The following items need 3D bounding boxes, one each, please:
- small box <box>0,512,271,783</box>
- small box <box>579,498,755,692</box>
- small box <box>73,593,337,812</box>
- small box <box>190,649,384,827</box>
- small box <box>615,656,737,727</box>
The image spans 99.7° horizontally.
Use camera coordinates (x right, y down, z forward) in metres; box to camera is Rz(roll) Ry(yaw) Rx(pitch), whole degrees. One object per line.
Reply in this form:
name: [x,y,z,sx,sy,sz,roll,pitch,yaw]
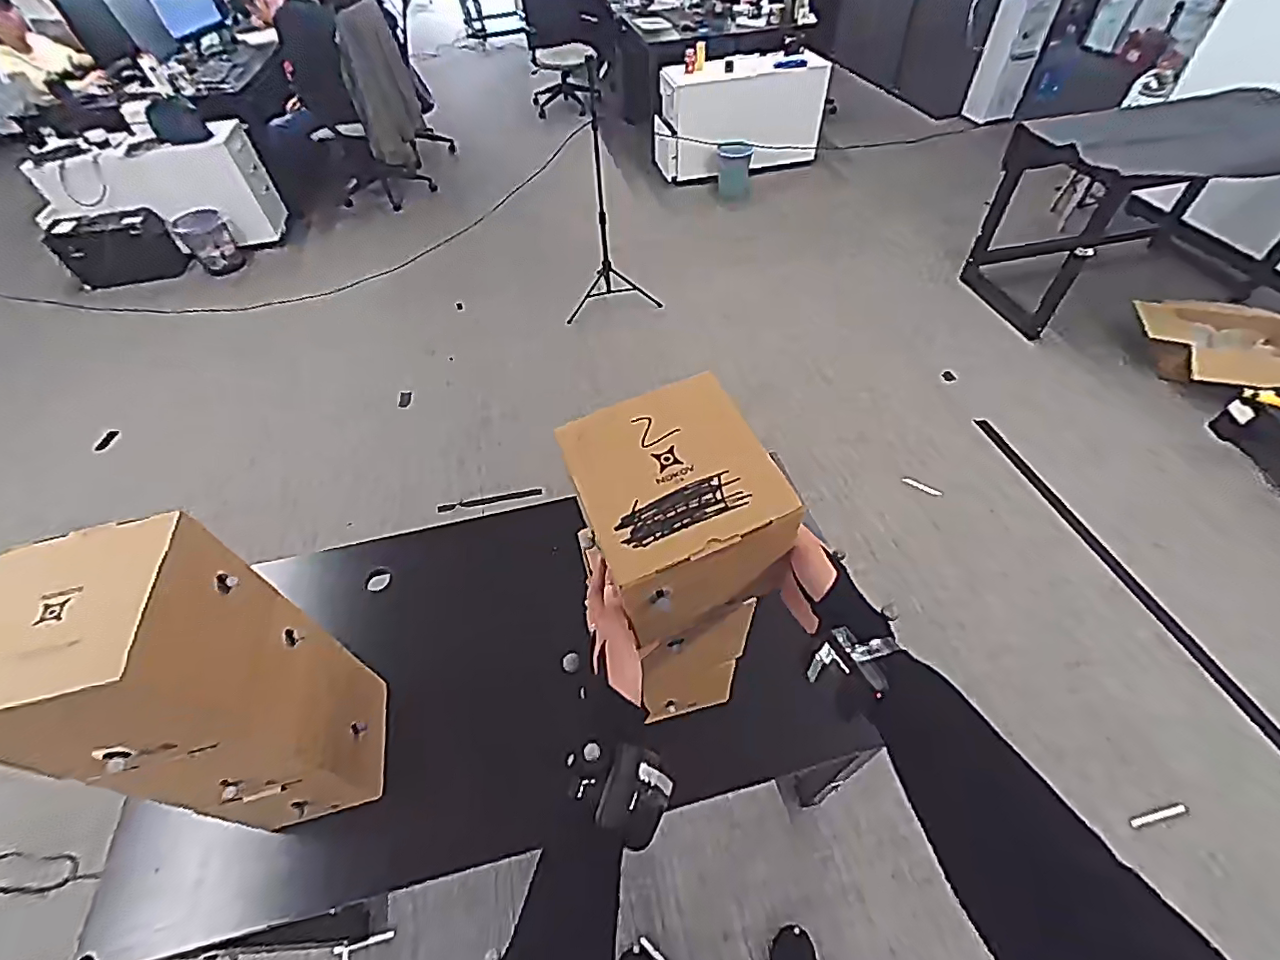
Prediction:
small box: [-0.495,0.162,0.522,0.168,0.176,0.179,-14,51,-7]
small box: [0.031,0.155,0.712,0.179,0.176,0.168,-15,51,-10]
small box: [-0.489,0.266,0.647,0.168,0.176,0.179,-13,51,-7]
small box: [-0.482,0.374,0.772,0.168,0.176,0.179,-13,51,-8]
small box: [0.038,0.255,0.842,0.168,0.176,0.179,-13,51,-7]
